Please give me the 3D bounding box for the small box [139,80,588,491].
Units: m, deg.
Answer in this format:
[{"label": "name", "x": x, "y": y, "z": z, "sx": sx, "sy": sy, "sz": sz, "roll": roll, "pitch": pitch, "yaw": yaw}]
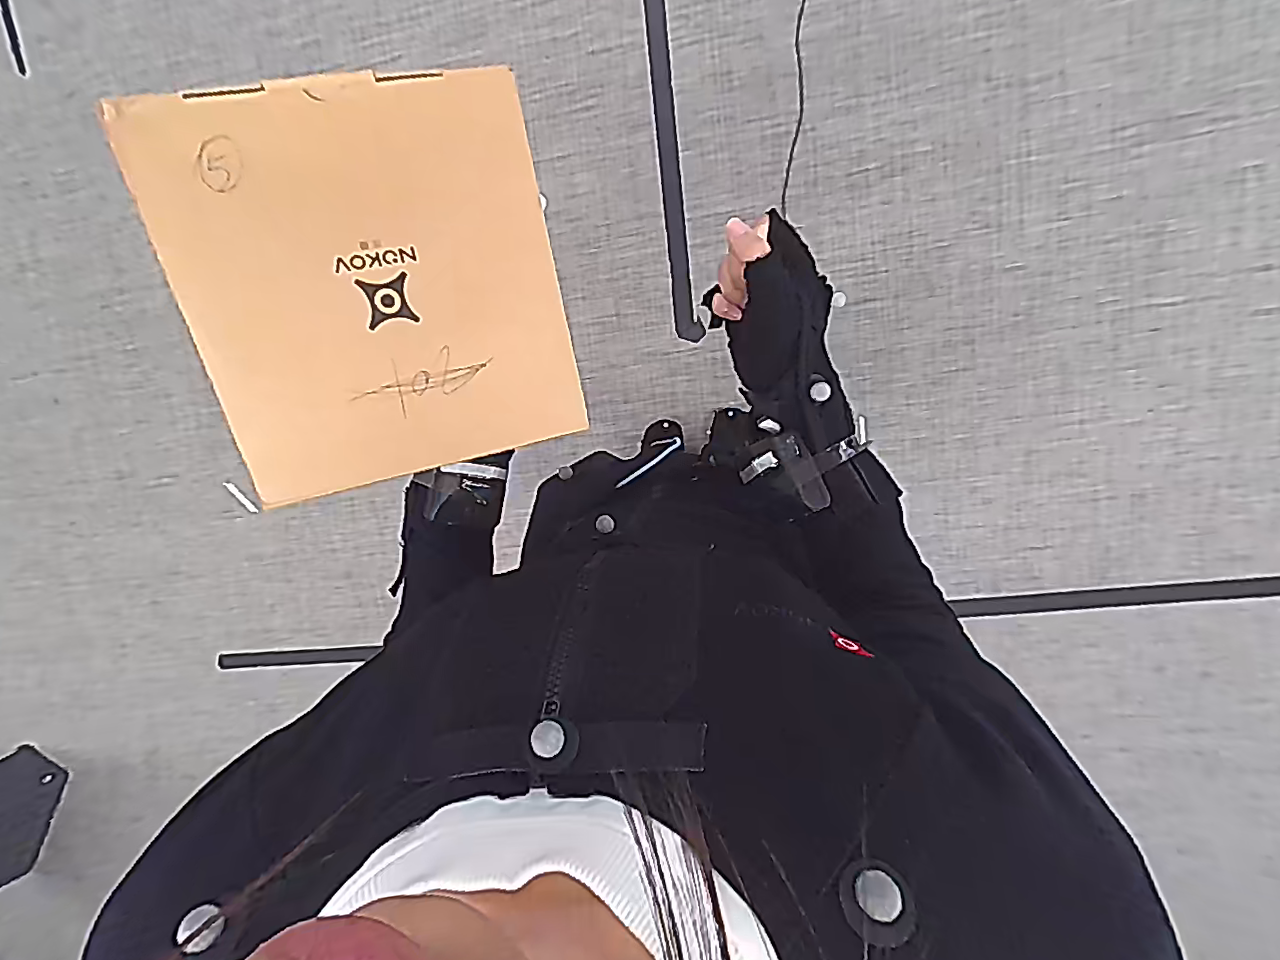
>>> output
[{"label": "small box", "x": -0.144, "y": -0.112, "z": 0.343, "sx": 0.168, "sy": 0.176, "sz": 0.179, "roll": -15, "pitch": 108, "yaw": -13}]
